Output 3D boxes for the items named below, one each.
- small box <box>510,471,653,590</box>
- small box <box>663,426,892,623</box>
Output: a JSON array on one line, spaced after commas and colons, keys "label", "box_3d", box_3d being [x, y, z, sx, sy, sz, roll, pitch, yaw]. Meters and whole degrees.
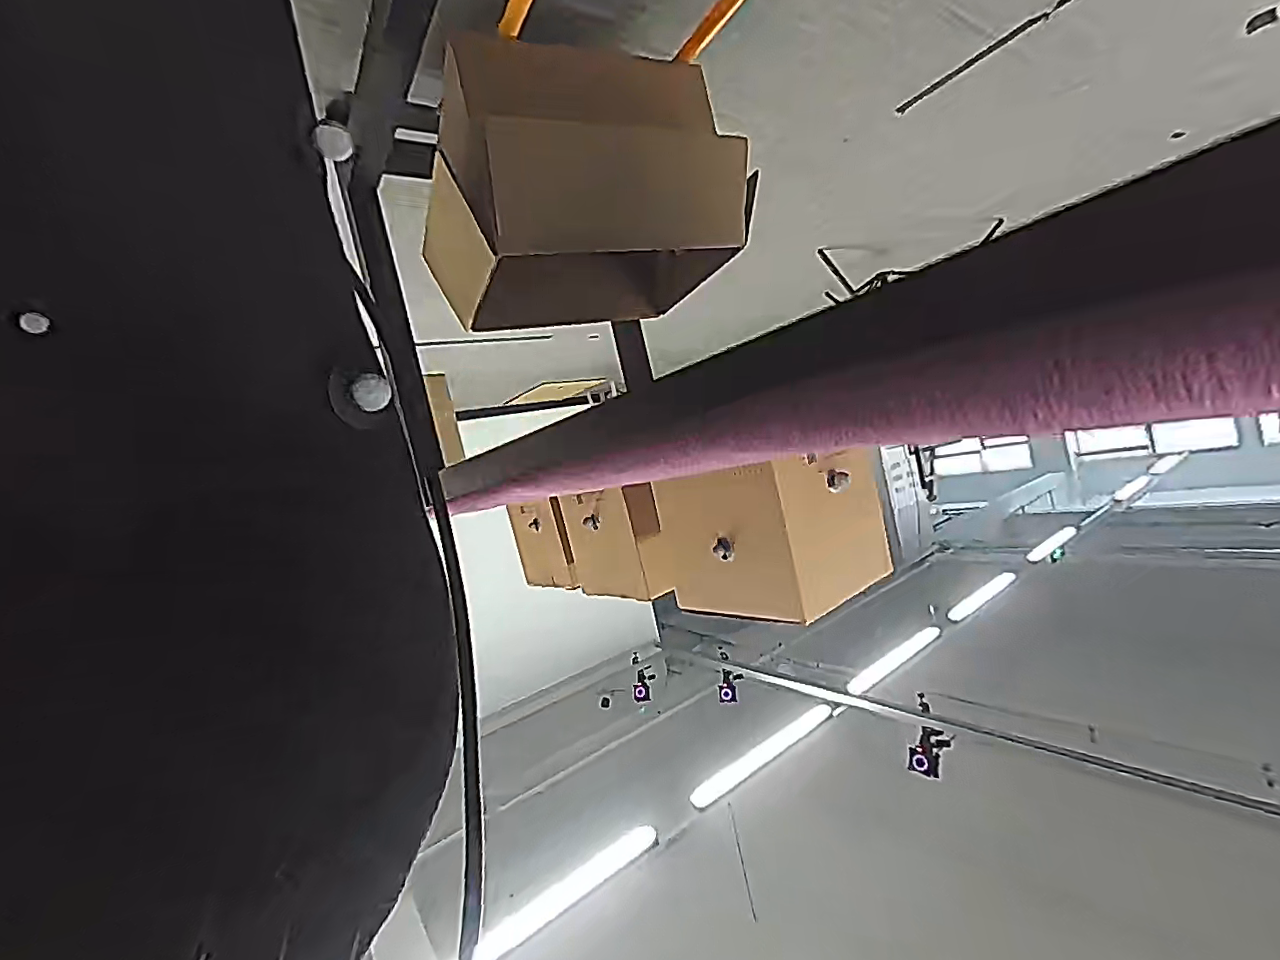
[{"label": "small box", "box_3d": [-0.107, 0.085, 0.971, 0.179, 0.176, 0.168, -15, -177, -38]}, {"label": "small box", "box_3d": [0.142, 0.042, 0.593, 0.168, 0.176, 0.179, -14, -179, -38]}]
